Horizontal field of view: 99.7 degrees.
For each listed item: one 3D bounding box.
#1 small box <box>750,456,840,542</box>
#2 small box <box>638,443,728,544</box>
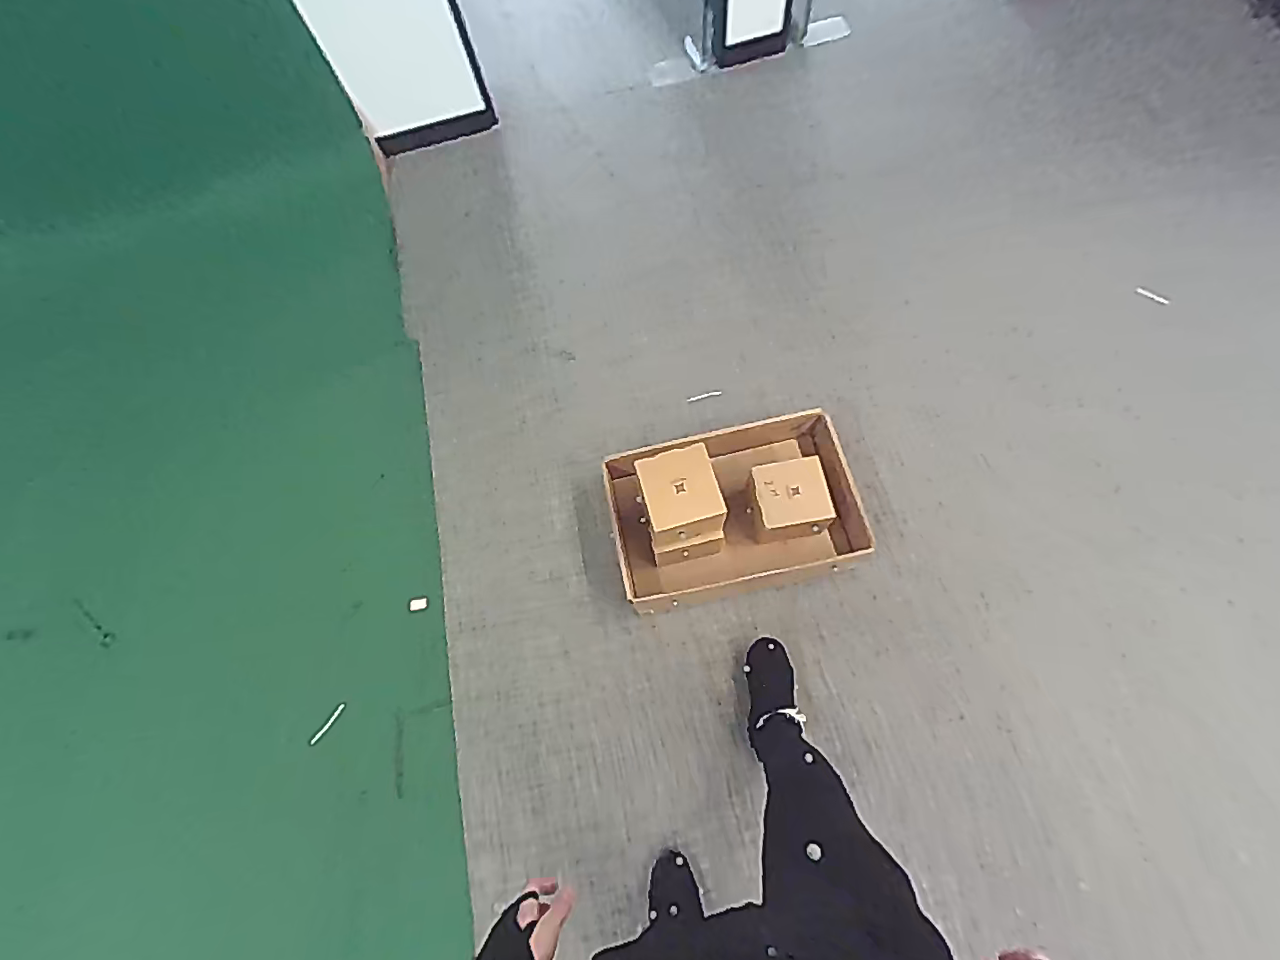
[{"bbox_3d":[0.393,0.054,1.402,0.179,0.176,0.168,-10,69,3],"label":"small box"},{"bbox_3d":[0.102,0.040,1.265,0.168,0.176,0.179,-16,69,-1],"label":"small box"}]
